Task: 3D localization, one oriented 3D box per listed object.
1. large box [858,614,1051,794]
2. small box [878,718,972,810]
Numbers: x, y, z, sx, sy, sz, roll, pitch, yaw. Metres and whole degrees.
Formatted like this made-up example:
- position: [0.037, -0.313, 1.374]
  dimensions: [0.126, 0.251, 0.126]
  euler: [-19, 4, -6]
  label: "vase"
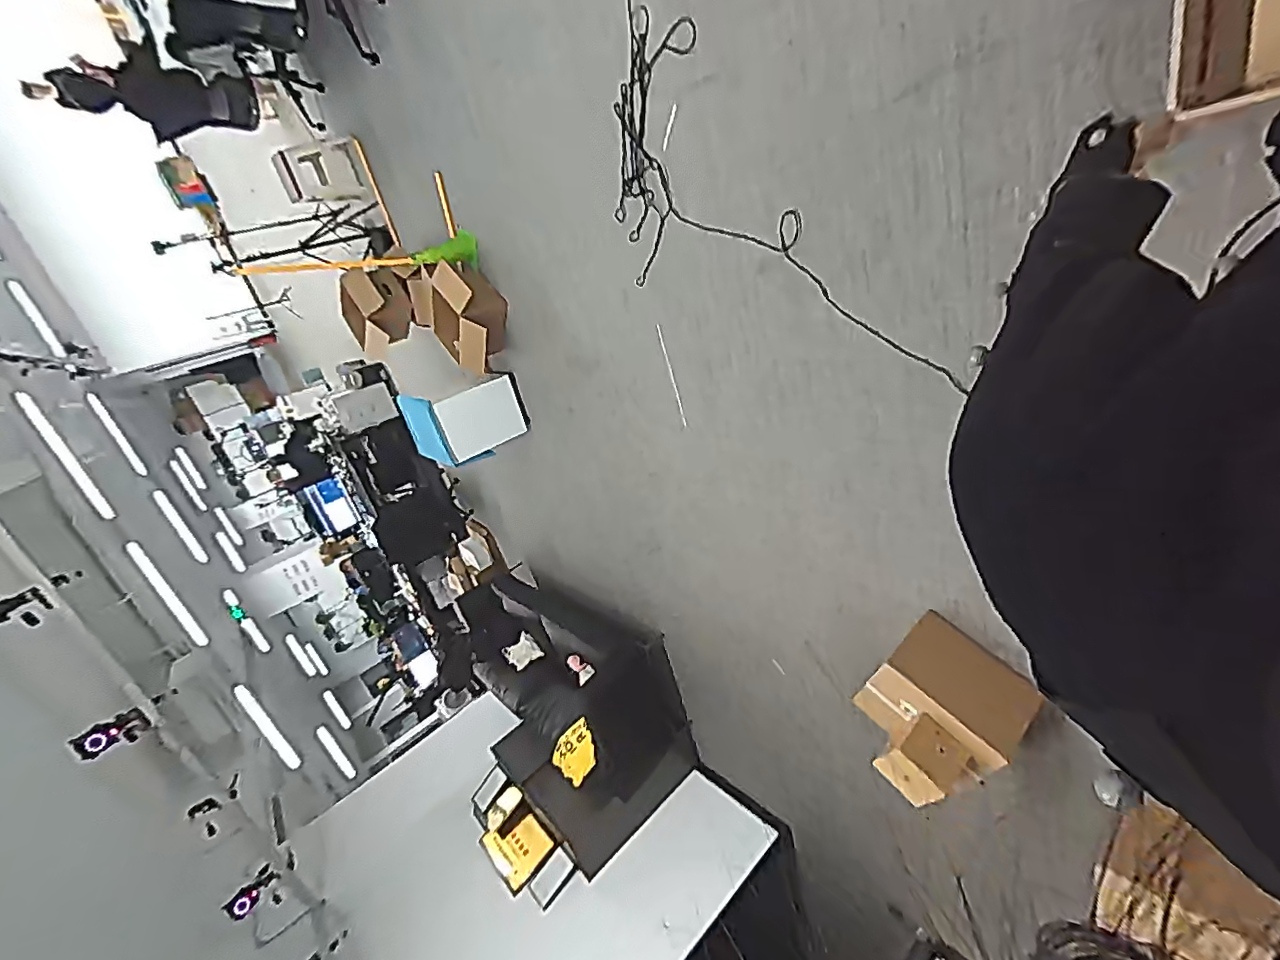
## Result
- position: [1.035, 0.737, 1.810]
  dimensions: [0.408, 0.320, 0.320]
  euler: [41, 145, 30]
  label: "large box"
- position: [0.883, 0.875, 1.671]
  dimensions: [0.168, 0.176, 0.179]
  euler: [43, 146, 26]
  label: "small box"
